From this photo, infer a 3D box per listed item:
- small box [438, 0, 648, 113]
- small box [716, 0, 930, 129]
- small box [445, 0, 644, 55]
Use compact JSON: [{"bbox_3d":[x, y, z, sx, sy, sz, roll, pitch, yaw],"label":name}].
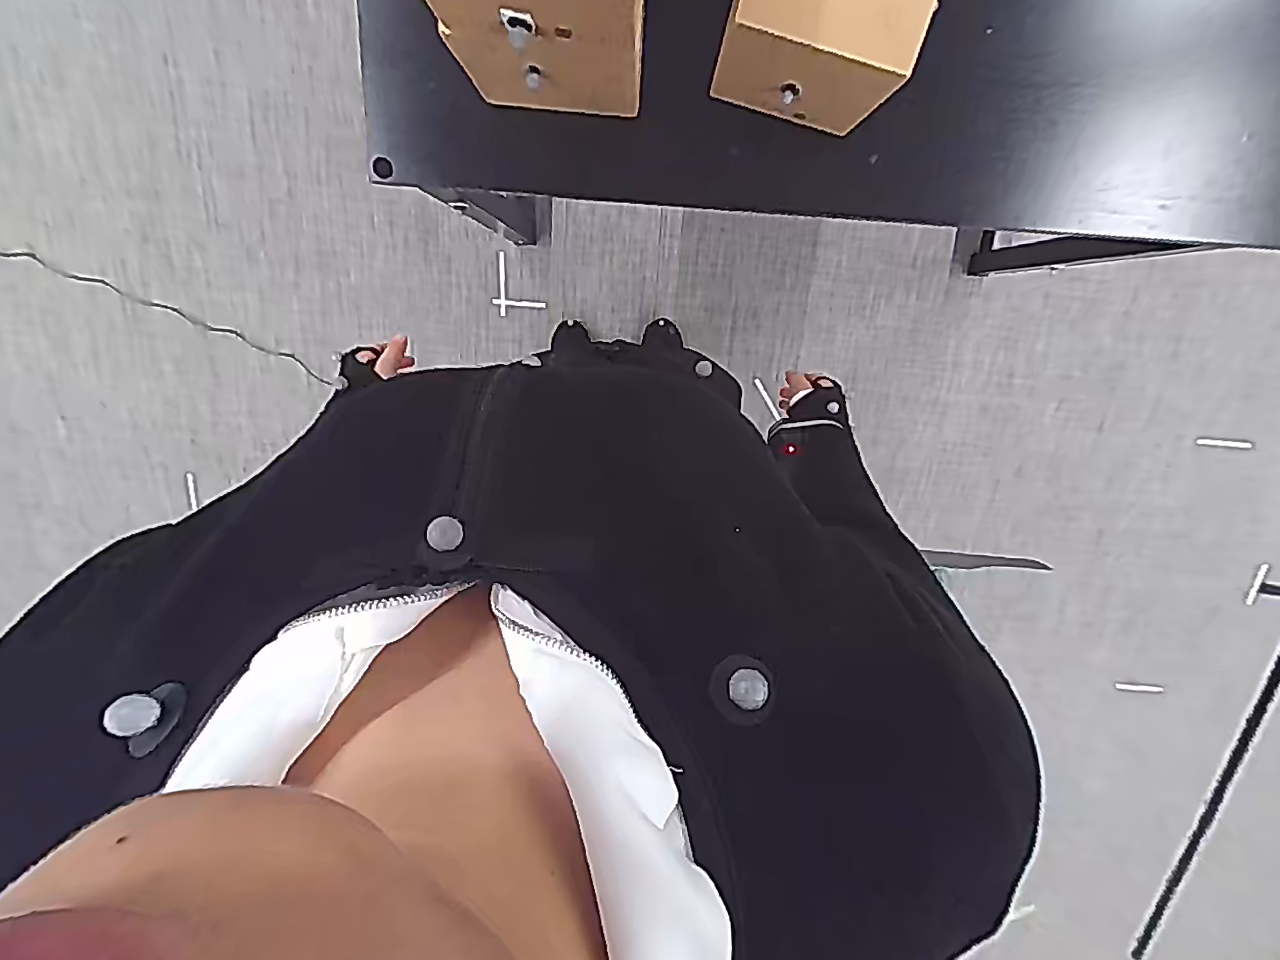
[{"bbox_3d":[-0.082,-0.486,0.528,0.179,0.176,0.168,4,107,-1],"label":"small box"},{"bbox_3d":[0.180,-0.482,0.530,0.168,0.176,0.179,14,106,-5],"label":"small box"},{"bbox_3d":[-0.073,-0.440,0.371,0.168,0.176,0.179,4,107,-1],"label":"small box"}]
